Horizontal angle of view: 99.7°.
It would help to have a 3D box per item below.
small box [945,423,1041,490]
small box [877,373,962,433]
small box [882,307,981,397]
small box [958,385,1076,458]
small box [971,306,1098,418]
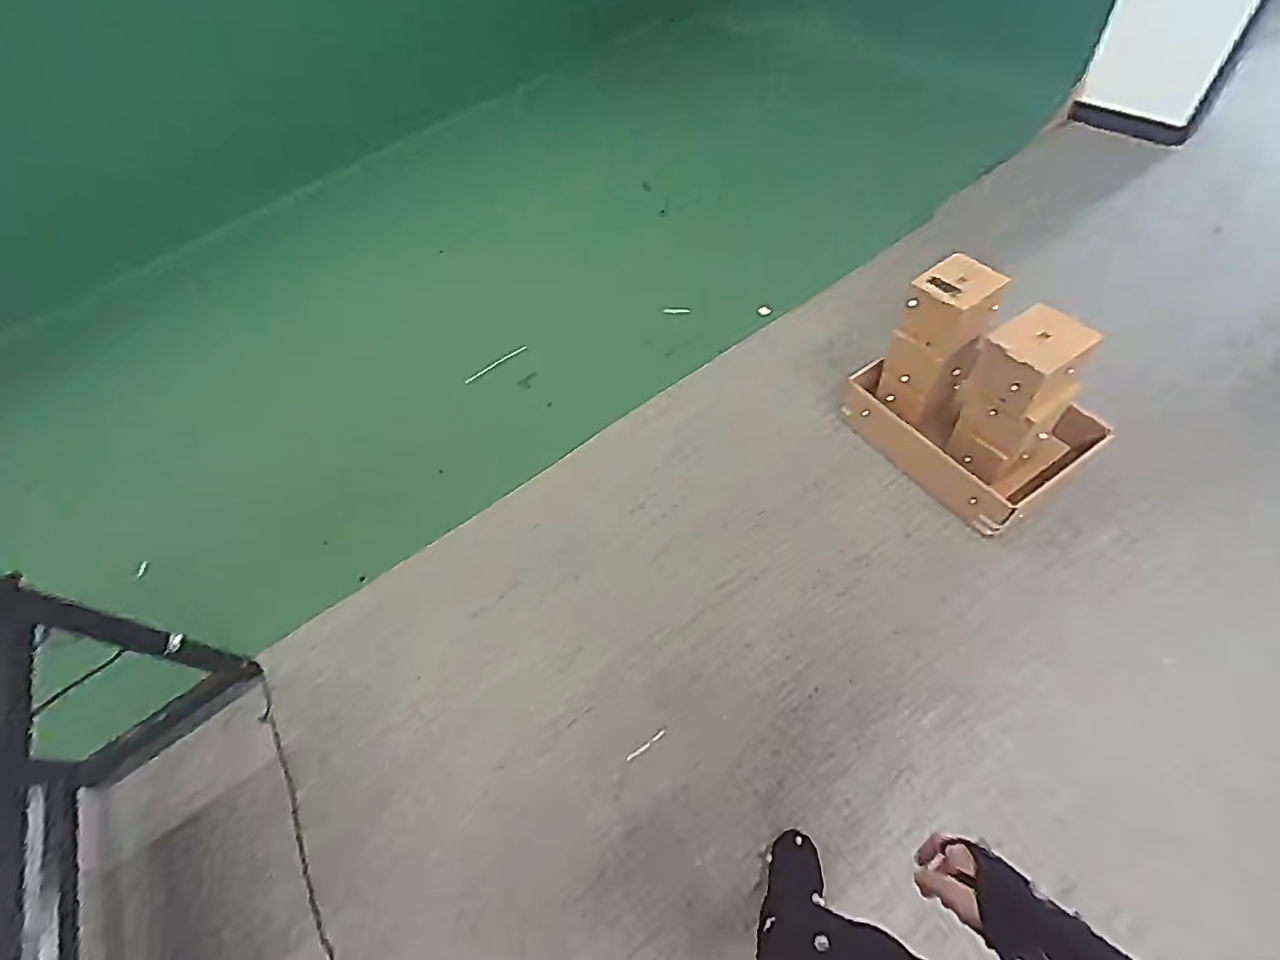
[{"bbox_3d":[1.034,-0.102,1.593,0.179,0.176,0.168,-31,56,-8],"label":"small box"},{"bbox_3d":[0.890,-0.286,1.746,0.179,0.176,0.168,-34,57,-9],"label":"small box"},{"bbox_3d":[0.857,-0.371,1.608,0.168,0.176,0.179,-33,59,-11],"label":"small box"},{"bbox_3d":[1.001,-0.191,1.458,0.168,0.176,0.179,-35,57,-10],"label":"small box"},{"bbox_3d":[0.954,-0.286,1.333,0.179,0.176,0.168,-31,56,-8],"label":"small box"}]
